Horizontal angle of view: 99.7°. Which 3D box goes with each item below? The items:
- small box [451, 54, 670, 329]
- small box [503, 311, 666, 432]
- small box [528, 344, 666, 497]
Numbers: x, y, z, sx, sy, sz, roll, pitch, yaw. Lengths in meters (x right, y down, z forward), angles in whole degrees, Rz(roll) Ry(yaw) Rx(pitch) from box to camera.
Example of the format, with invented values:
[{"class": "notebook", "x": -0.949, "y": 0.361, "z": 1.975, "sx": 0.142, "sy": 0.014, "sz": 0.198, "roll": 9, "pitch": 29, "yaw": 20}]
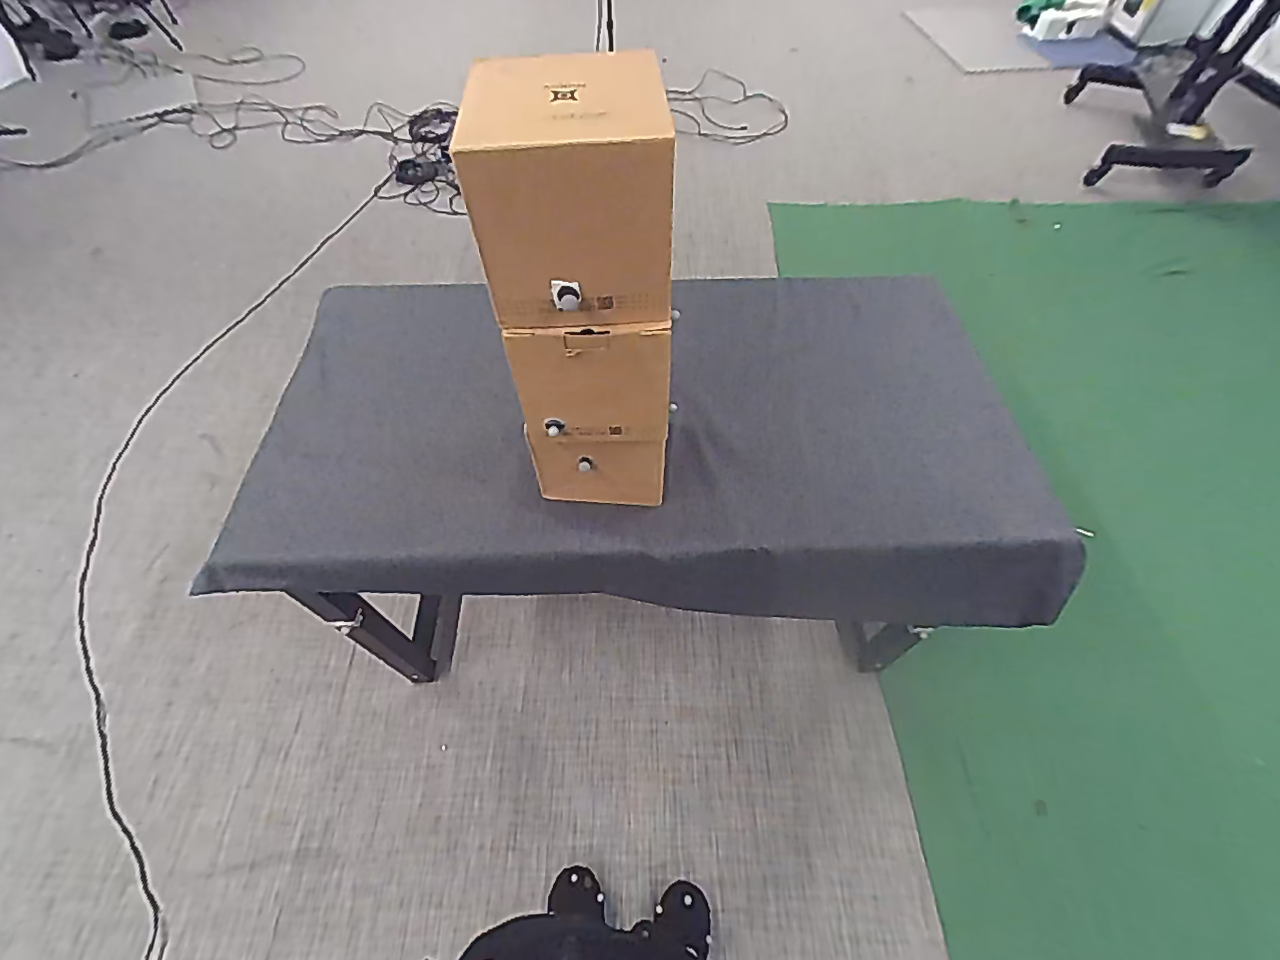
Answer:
[{"class": "small box", "x": -0.063, "y": -0.268, "z": 0.513, "sx": 0.168, "sy": 0.176, "sz": 0.179, "roll": -5, "pitch": 56, "yaw": -1}, {"class": "small box", "x": -0.056, "y": -0.169, "z": 0.641, "sx": 0.168, "sy": 0.176, "sz": 0.179, "roll": -4, "pitch": 57, "yaw": -1}, {"class": "small box", "x": -0.052, "y": -0.087, "z": 0.787, "sx": 0.179, "sy": 0.176, "sz": 0.168, "roll": 1, "pitch": 54, "yaw": 1}]
